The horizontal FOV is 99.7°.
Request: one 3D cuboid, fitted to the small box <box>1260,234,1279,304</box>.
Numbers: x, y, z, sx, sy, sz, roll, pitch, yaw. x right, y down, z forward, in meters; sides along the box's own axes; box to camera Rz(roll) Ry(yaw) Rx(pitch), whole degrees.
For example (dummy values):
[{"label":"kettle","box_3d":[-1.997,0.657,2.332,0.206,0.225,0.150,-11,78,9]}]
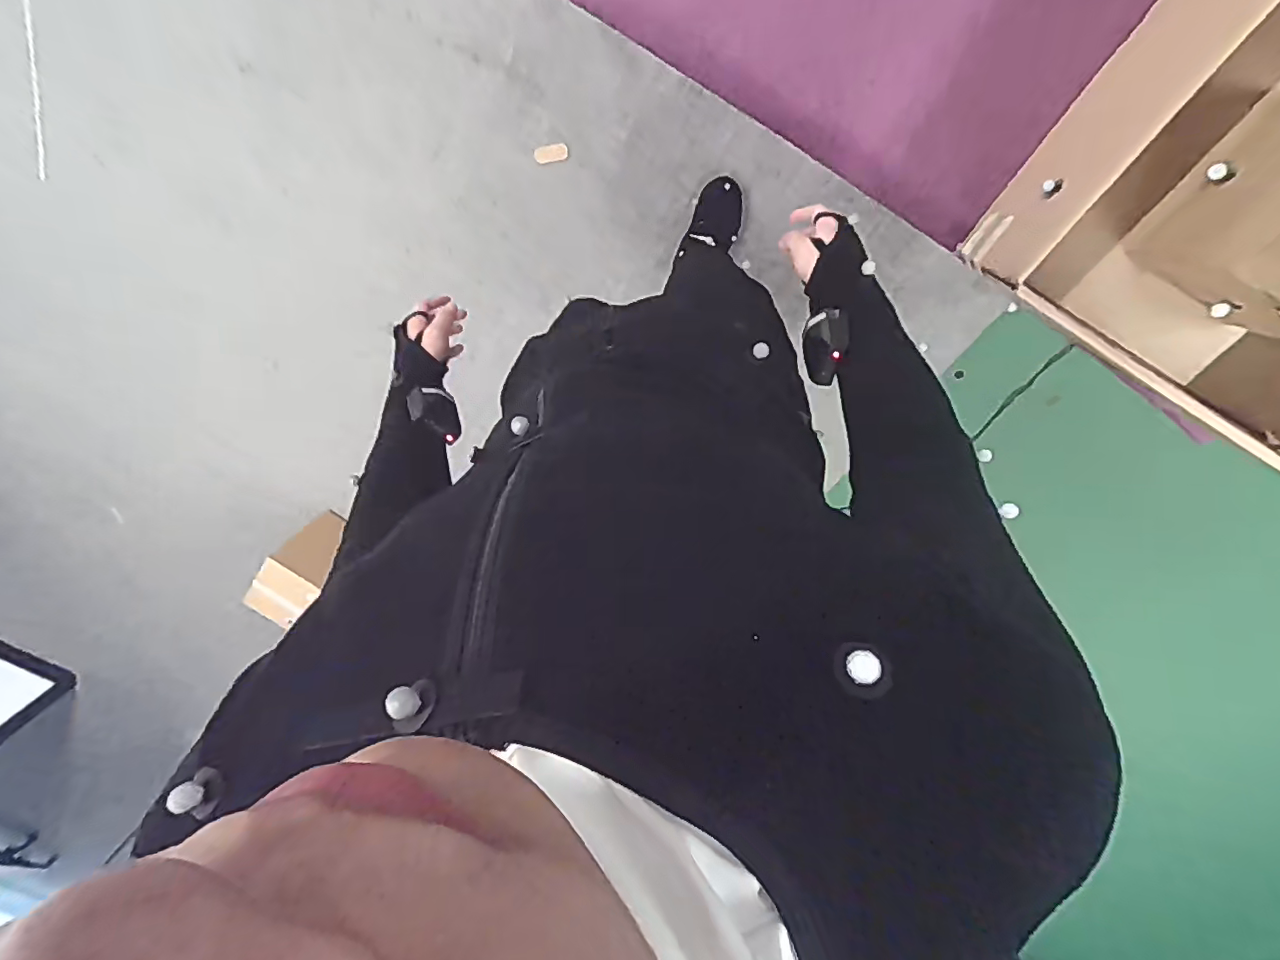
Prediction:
[{"label":"small box","box_3d":[0.618,-0.165,0.376,0.168,0.176,0.179,30,119,-5]}]
